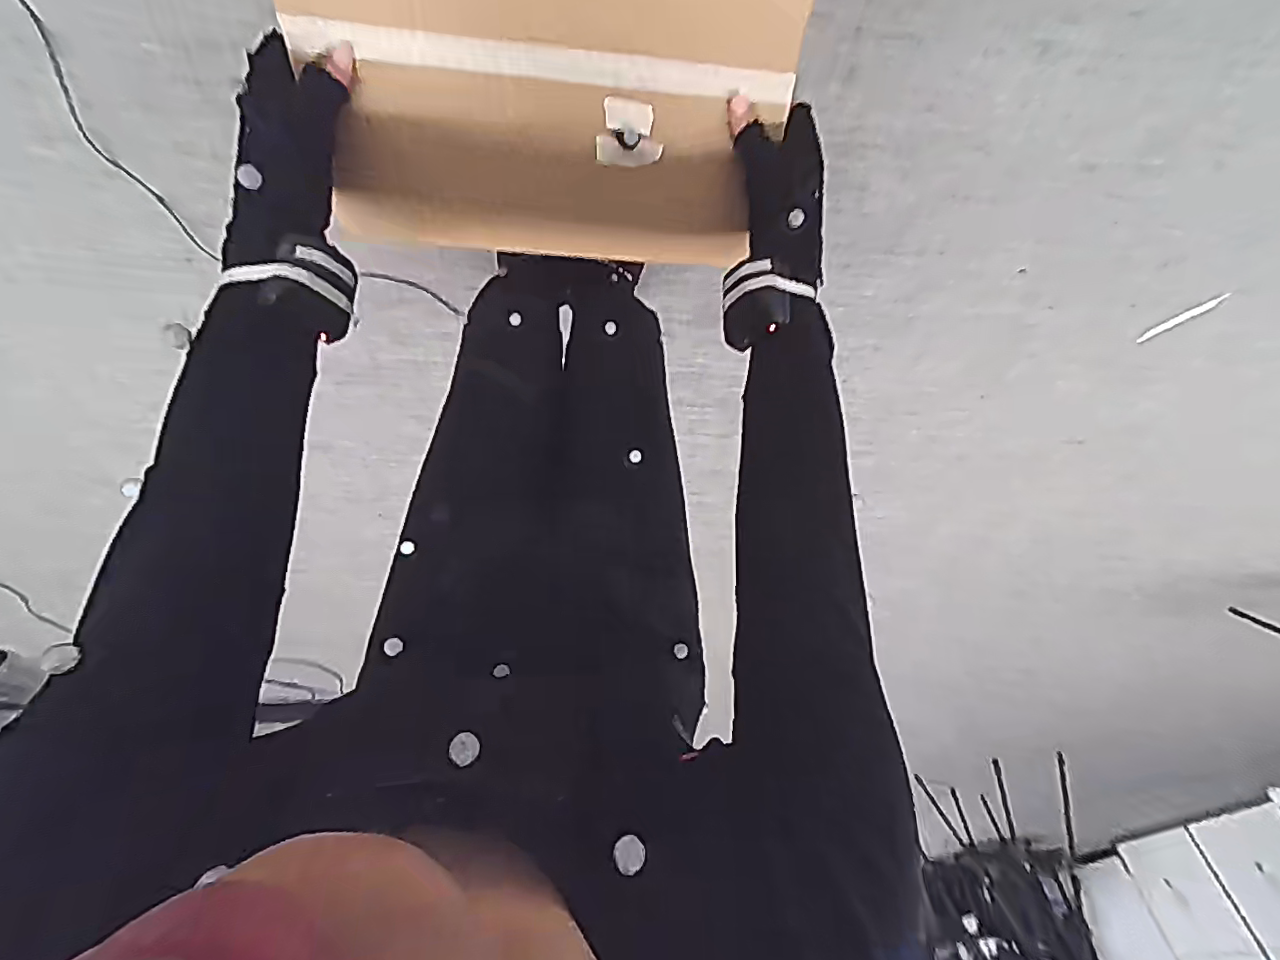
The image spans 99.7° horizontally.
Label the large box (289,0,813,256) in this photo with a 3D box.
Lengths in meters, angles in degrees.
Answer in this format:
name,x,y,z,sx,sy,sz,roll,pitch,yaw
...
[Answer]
name,x,y,z,sx,sy,sz,roll,pitch,yaw
large box,-0.079,-0.445,0.539,0.408,0.320,0.320,1,136,-7
